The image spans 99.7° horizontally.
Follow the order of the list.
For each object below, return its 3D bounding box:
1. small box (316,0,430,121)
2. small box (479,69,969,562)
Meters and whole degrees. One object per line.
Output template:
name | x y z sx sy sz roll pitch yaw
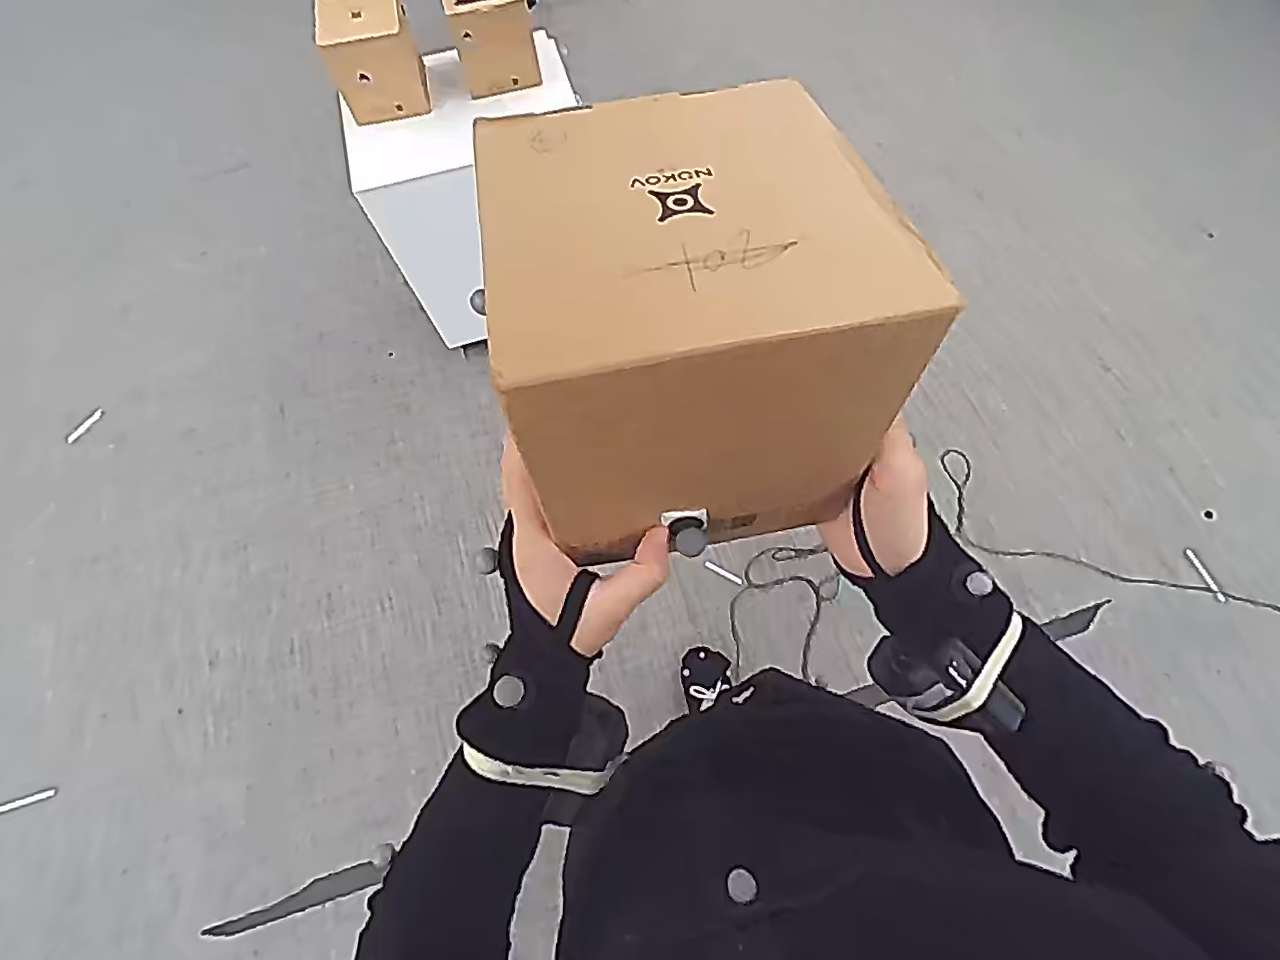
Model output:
small box | -0.566 -0.907 1.163 0.168 0.176 0.179 -13 69 -3
small box | 0.021 -0.079 0.291 0.168 0.176 0.179 -12 59 -4
